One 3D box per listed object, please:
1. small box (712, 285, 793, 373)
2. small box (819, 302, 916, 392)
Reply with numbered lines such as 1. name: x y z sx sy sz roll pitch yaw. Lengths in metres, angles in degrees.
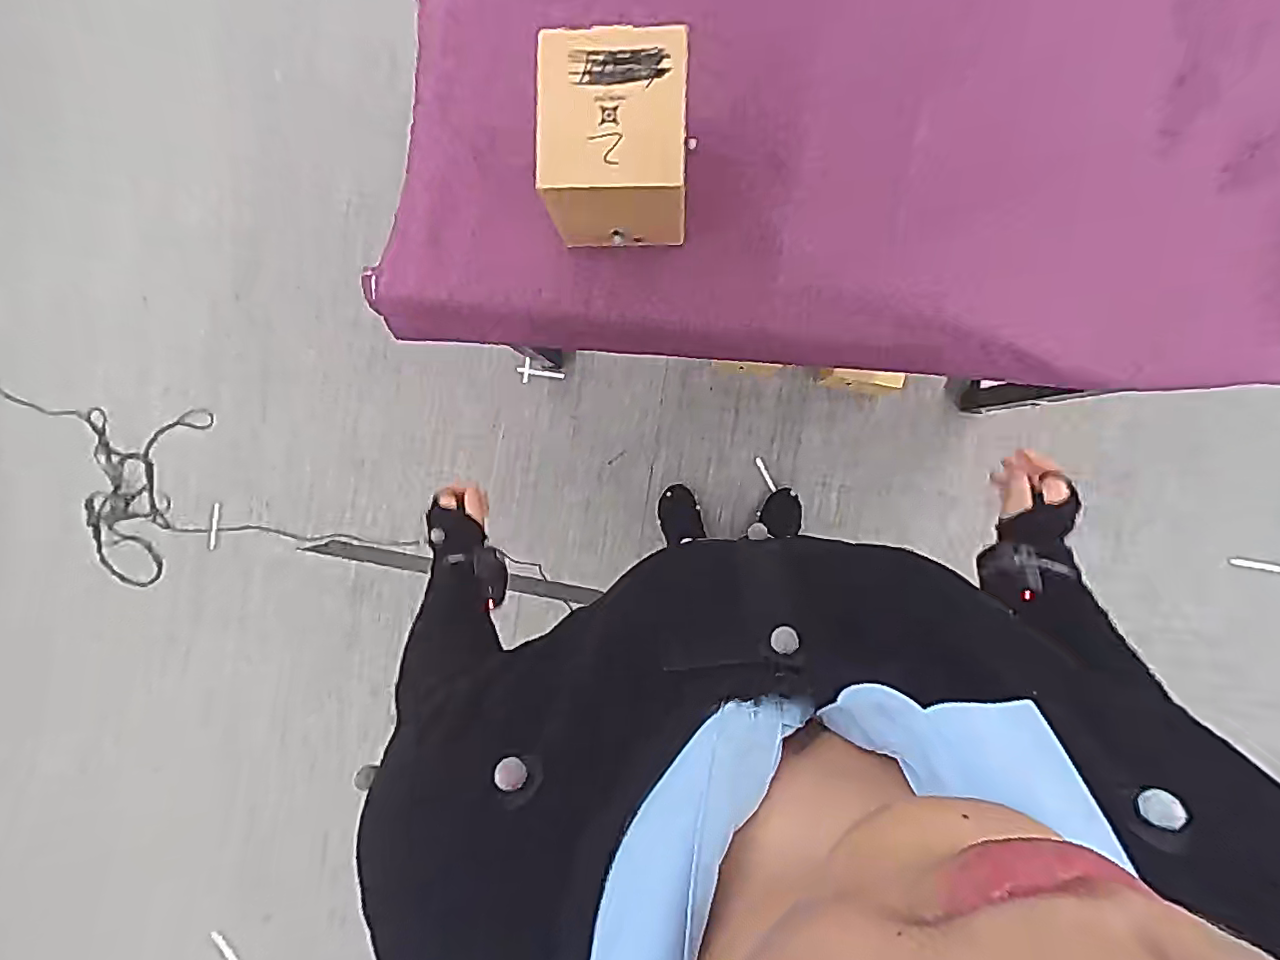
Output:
1. small box: 0.281 -0.379 1.388 0.168 0.176 0.179 9 93 3
2. small box: 0.566 -0.328 1.371 0.168 0.176 0.179 12 93 4
